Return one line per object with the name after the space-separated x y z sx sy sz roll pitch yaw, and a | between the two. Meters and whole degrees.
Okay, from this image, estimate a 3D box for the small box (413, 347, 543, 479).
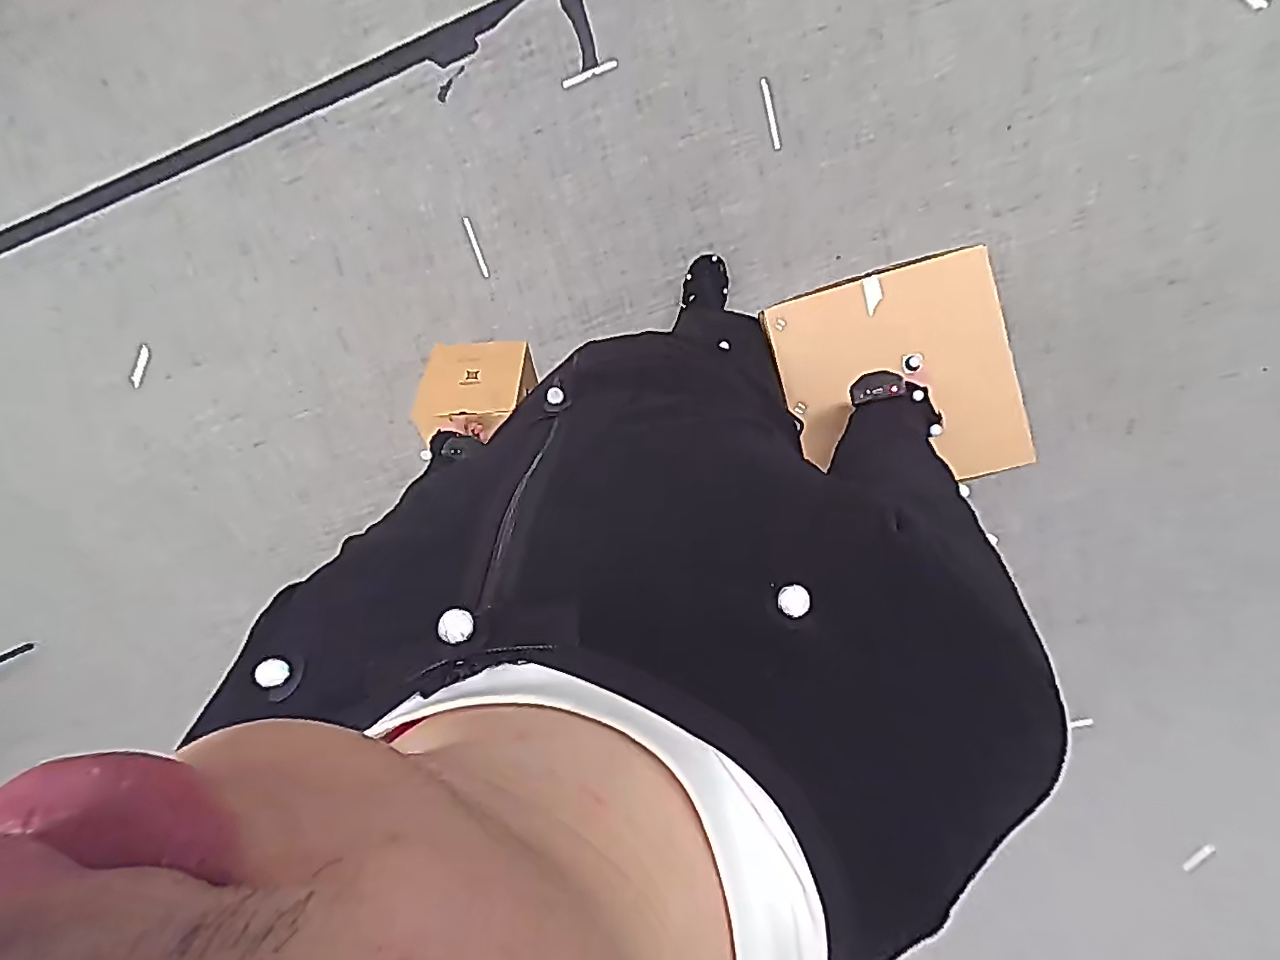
-0.273 -0.112 0.958 0.168 0.179 0.176 -2 141 2 | small box
